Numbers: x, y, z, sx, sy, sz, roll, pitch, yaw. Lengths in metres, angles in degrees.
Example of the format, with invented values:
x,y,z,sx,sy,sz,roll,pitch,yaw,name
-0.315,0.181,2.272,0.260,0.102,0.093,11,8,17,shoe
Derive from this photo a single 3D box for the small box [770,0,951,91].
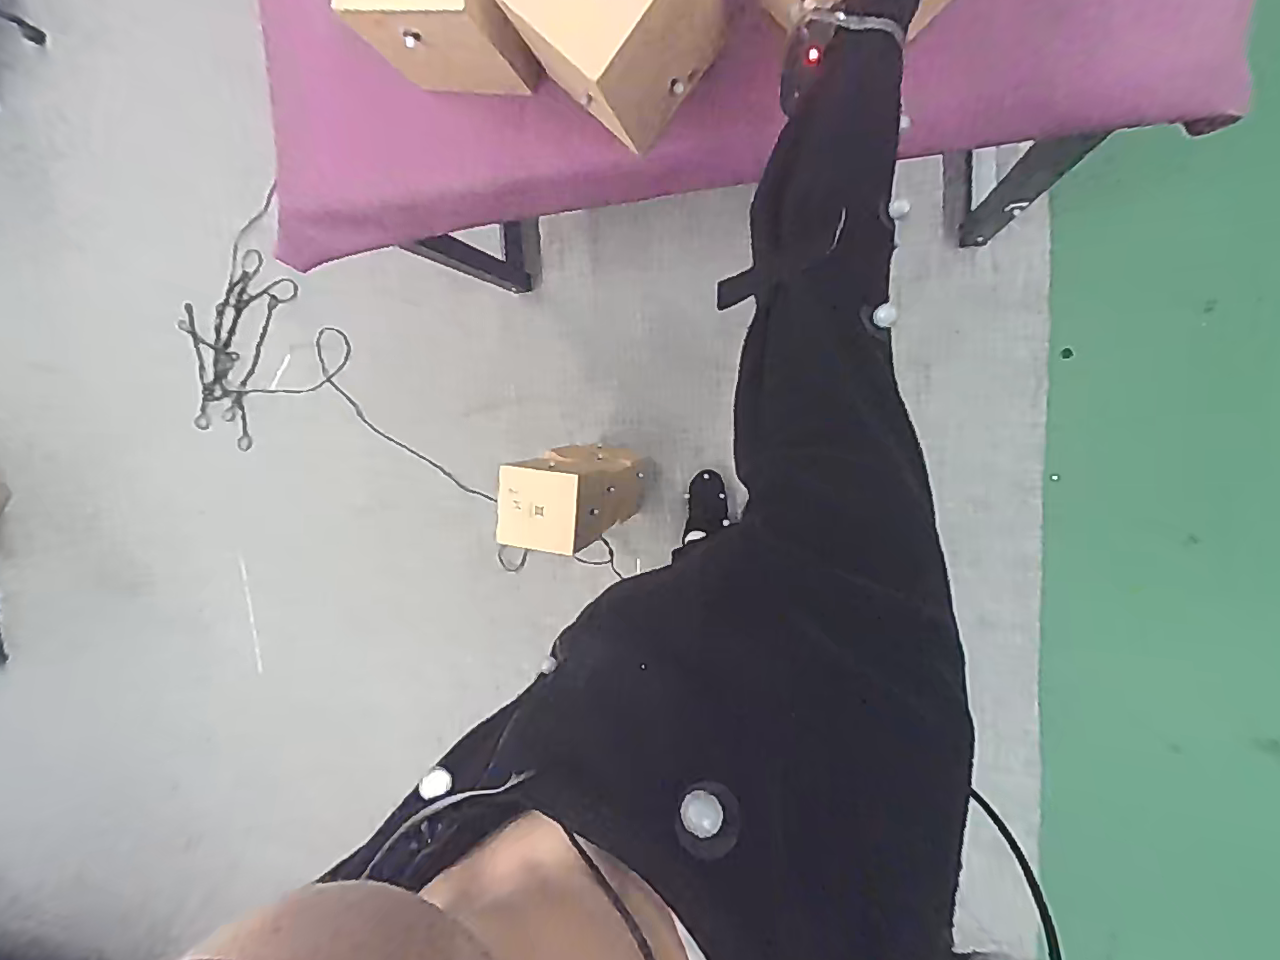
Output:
x,y,z,sx,sy,sz,roll,pitch,yaw,name
0.232,-0.545,0.533,0.179,0.176,0.168,-42,85,17,small box

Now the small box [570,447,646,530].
x,y,z,sx,sy,sz,roll,pitch,yaw,name
-0.092,0.015,1.462,0.168,0.176,0.179,15,102,14,small box

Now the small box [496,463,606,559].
x,y,z,sx,sy,sz,roll,pitch,yaw,name
-0.182,0.058,1.152,0.179,0.176,0.168,8,98,16,small box
